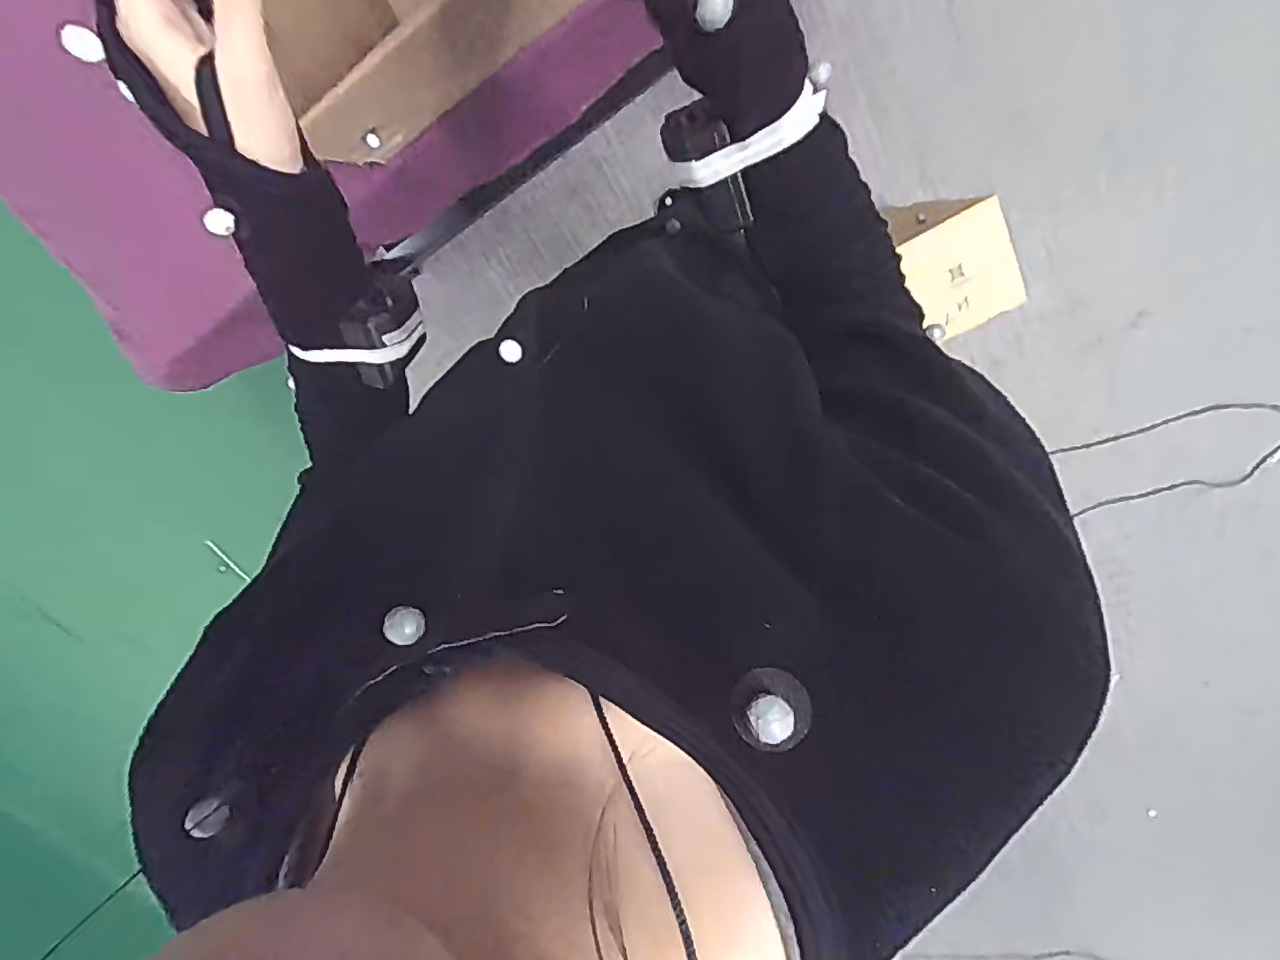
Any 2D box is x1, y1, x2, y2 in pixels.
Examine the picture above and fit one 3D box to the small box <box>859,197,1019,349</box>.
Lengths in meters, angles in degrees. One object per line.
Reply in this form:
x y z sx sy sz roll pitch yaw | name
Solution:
0.495 -0.350 0.918 0.168 0.176 0.179 -25 111 17 | small box
